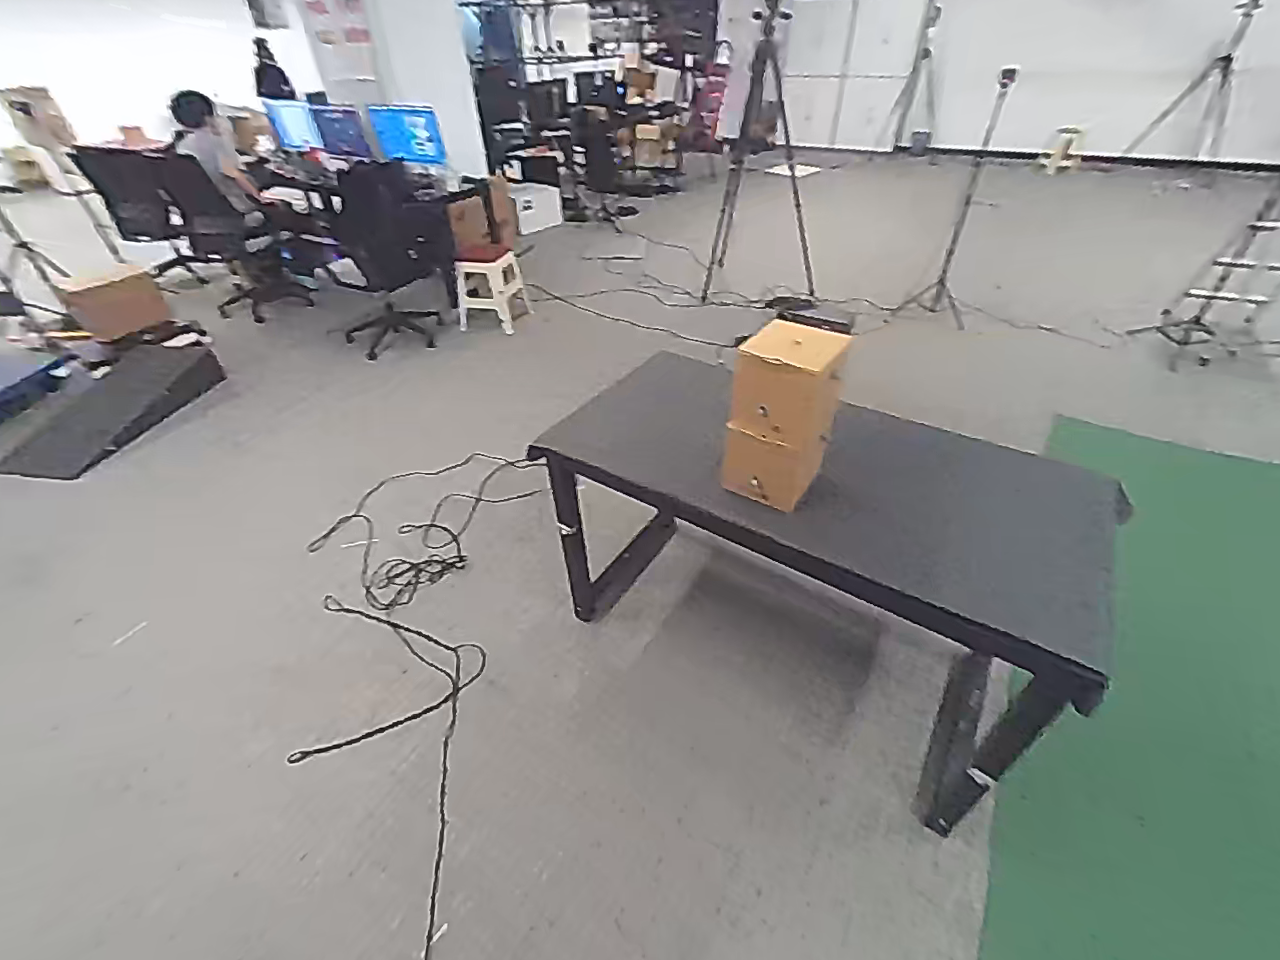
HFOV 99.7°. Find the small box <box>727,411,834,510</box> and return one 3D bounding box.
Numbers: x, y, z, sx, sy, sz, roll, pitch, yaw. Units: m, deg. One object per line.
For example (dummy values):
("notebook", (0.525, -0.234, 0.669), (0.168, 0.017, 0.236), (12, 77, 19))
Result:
("small box", (0.298, -0.068, 1.176), (0.168, 0.176, 0.179), (22, 45, 28))

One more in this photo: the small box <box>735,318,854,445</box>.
("small box", (0.301, -0.198, 1.079), (0.168, 0.176, 0.179), (24, 46, 28))
